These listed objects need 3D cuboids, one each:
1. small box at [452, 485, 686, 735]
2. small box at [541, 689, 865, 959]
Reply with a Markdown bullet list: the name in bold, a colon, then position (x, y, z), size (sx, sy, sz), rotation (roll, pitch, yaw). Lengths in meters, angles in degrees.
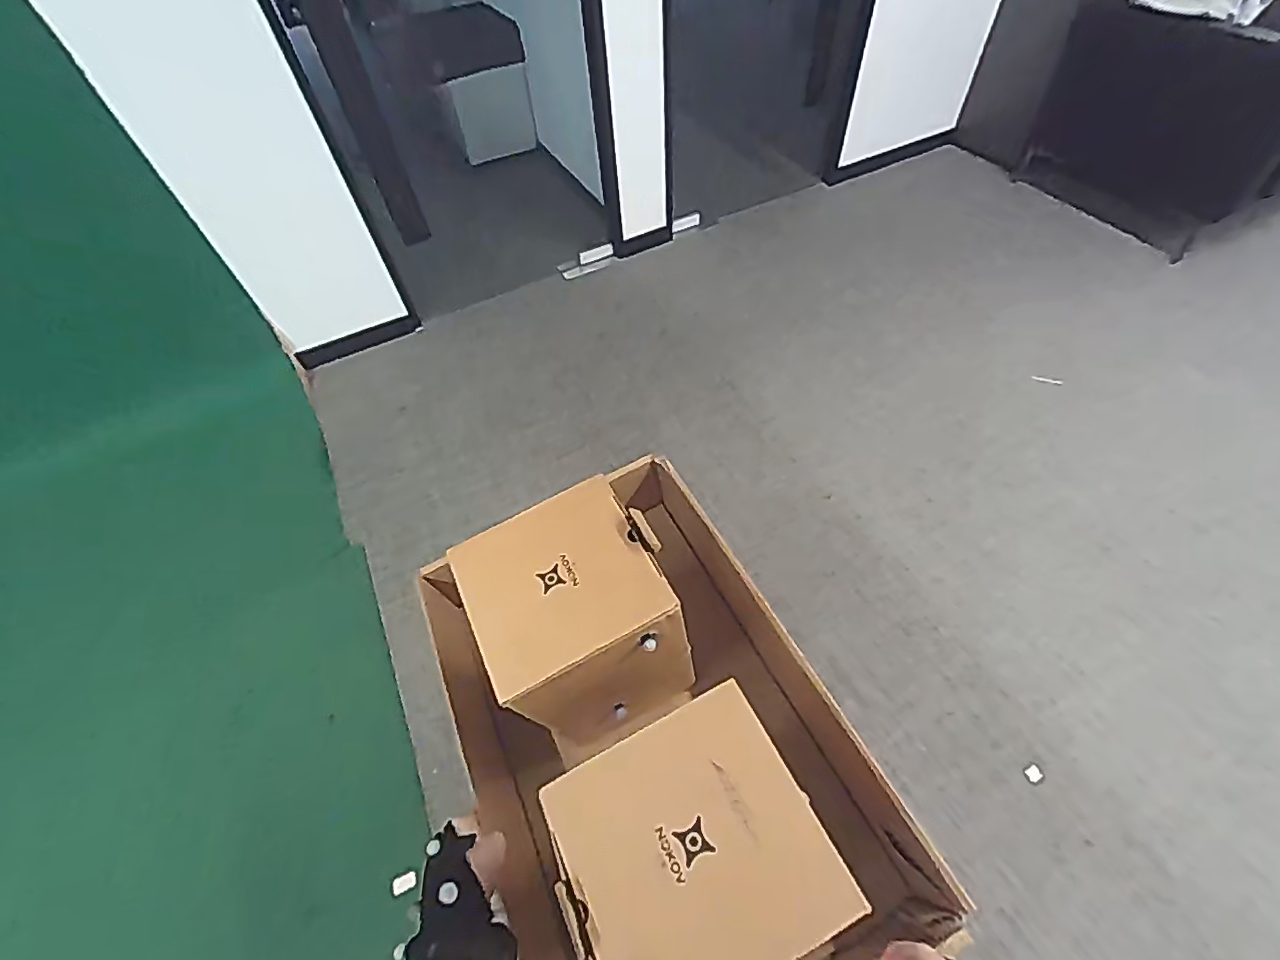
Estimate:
- **small box**: position (-0.065, 0.143, 0.571), size (0.179, 0.176, 0.168), rotation (-27, 57, -10)
- **small box**: position (0.047, 0.305, 0.440), size (0.179, 0.176, 0.168), rotation (-27, 56, -9)
